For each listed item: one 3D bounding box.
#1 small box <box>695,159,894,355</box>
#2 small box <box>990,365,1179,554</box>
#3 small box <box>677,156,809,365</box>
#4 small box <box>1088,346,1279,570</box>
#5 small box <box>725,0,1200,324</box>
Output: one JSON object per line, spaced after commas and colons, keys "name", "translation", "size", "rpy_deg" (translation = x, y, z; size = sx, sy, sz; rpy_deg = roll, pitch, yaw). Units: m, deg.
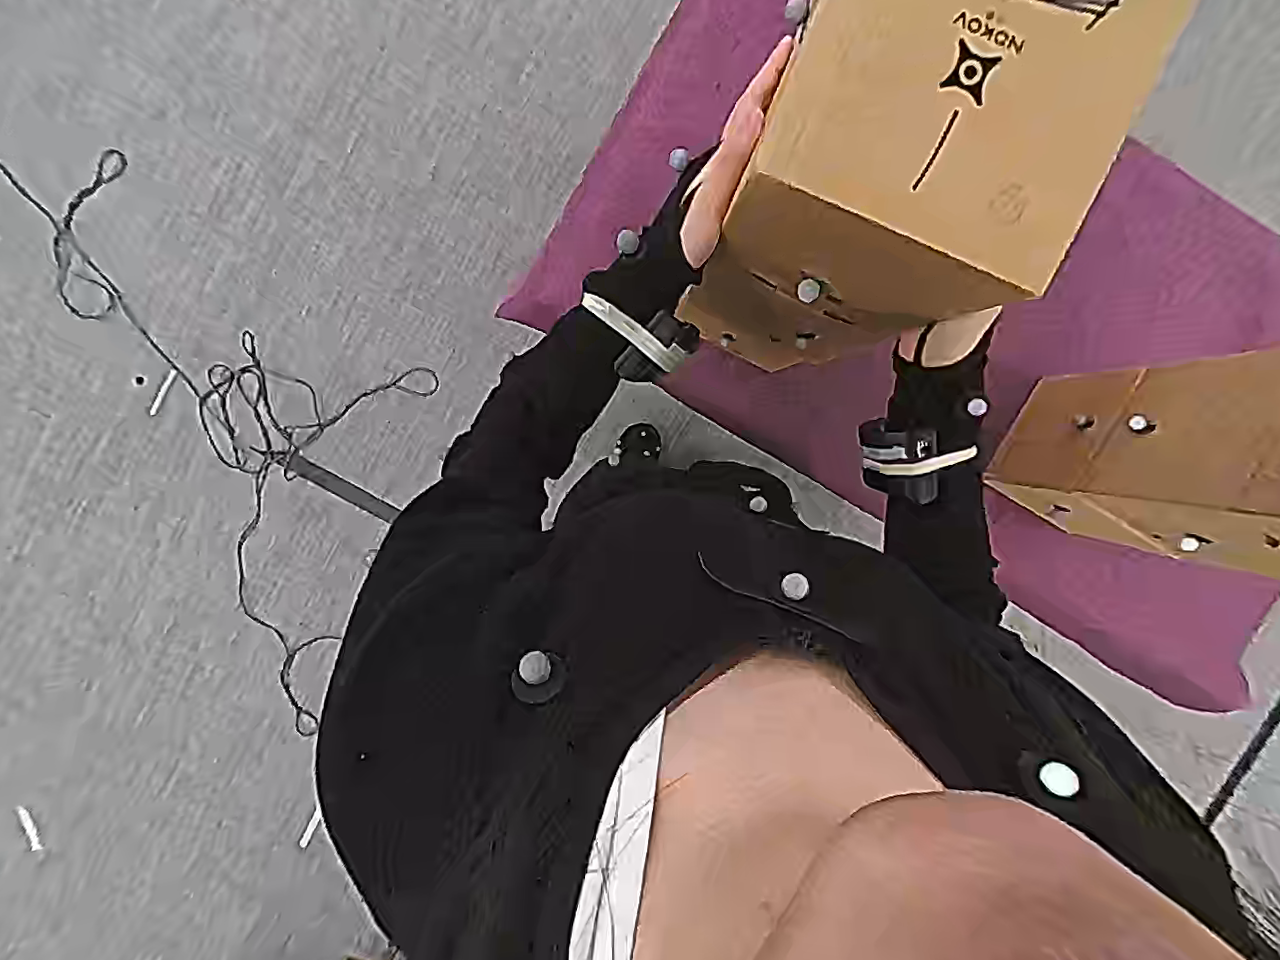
{"name": "small box", "translation": [0.163, -0.236, 0.516], "size": [0.168, 0.176, 0.179], "rpy_deg": [23, 93, -6]}
{"name": "small box", "translation": [0.619, -0.029, 0.725], "size": [0.168, 0.176, 0.179], "rpy_deg": [30, 93, -5]}
{"name": "small box", "translation": [0.156, -0.259, 0.676], "size": [0.168, 0.176, 0.179], "rpy_deg": [25, 93, -6]}
{"name": "small box", "translation": [0.629, -0.017, 0.562], "size": [0.168, 0.176, 0.179], "rpy_deg": [30, 94, -5]}
{"name": "small box", "translation": [0.165, -0.216, 0.338], "size": [0.168, 0.176, 0.179], "rpy_deg": [22, 99, -3]}
